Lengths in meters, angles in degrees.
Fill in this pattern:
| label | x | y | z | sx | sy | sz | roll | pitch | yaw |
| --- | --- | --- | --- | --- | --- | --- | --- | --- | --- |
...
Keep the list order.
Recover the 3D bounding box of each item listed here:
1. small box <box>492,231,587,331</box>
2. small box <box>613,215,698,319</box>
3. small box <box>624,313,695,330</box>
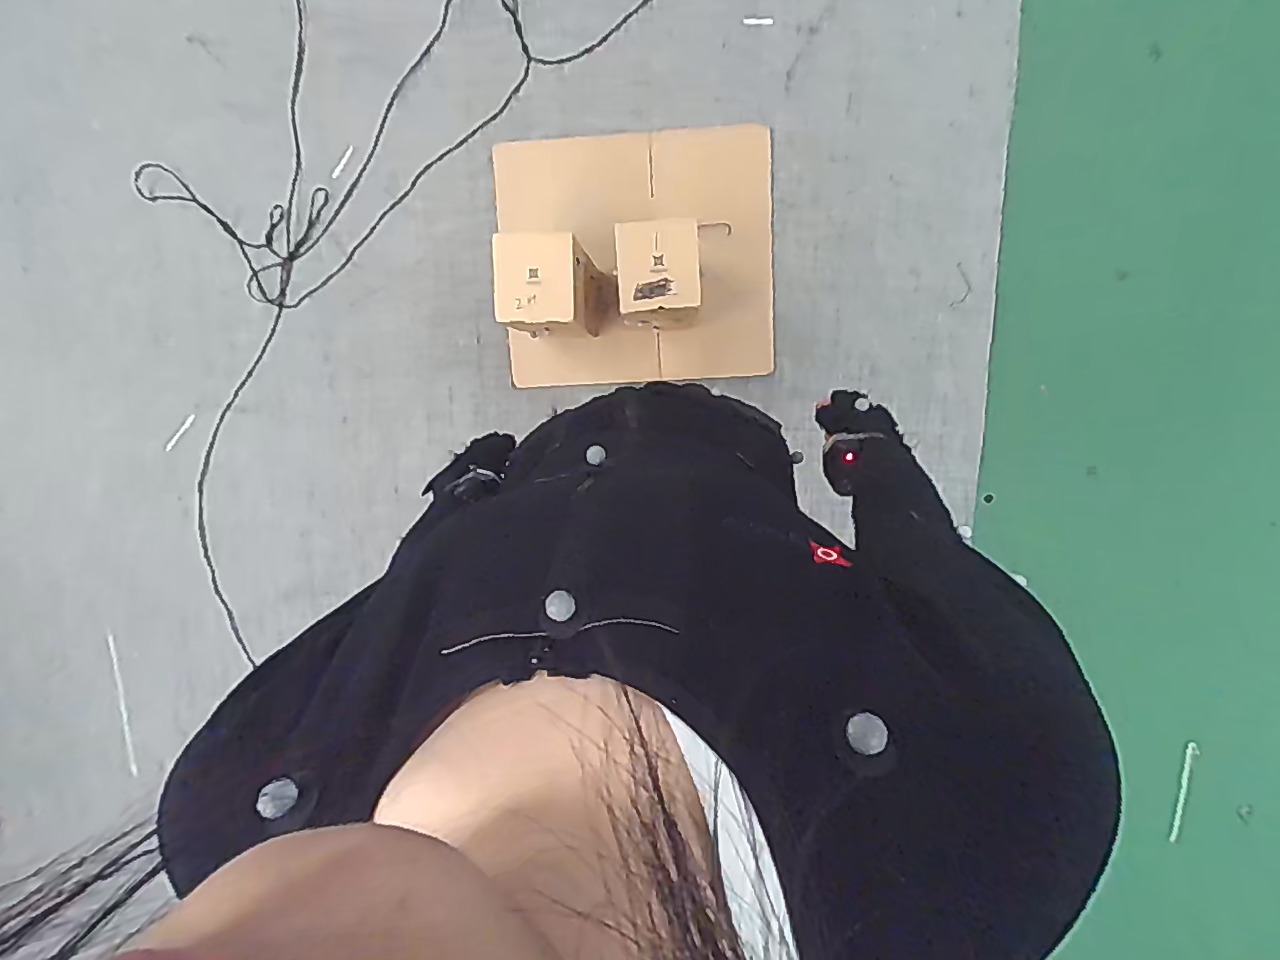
| label | x | y | z | sx | sy | sz | roll | pitch | yaw |
| --- | --- | --- | --- | --- | --- | --- | --- | --- | --- |
| small box | -0.211 | -0.421 | 1.166 | 0.168 | 0.176 | 0.179 | 1 | 100 | 4 |
| small box | 0.037 | -0.442 | 1.152 | 0.168 | 0.176 | 0.179 | -4 | 99 | 3 |
| small box | 0.043 | -0.467 | 1.314 | 0.168 | 0.176 | 0.179 | -3 | 100 | 3 |
